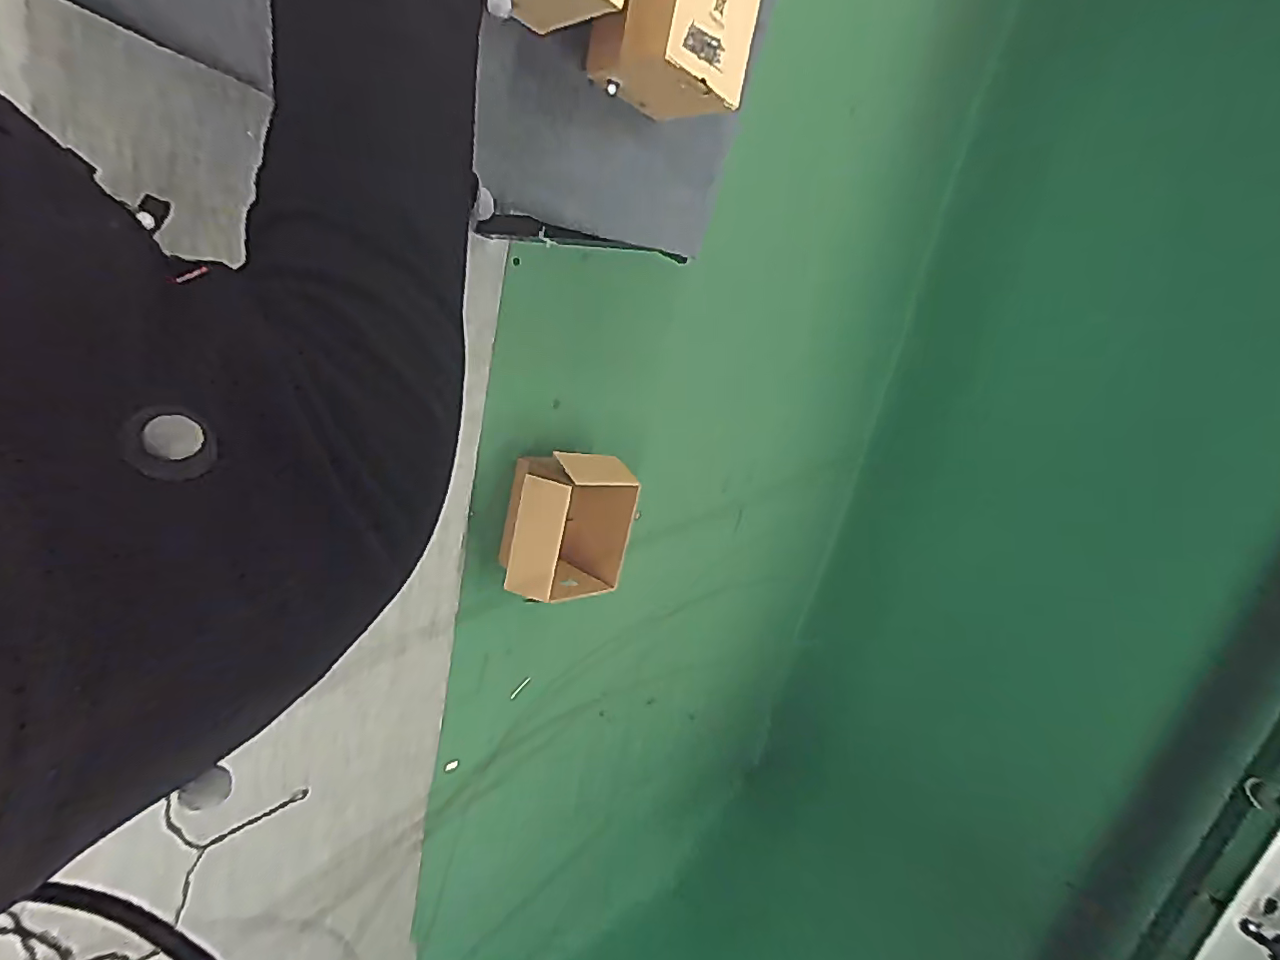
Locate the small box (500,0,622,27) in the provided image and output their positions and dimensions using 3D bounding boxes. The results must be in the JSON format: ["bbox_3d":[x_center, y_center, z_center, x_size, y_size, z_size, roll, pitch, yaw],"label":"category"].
[{"bbox_3d":[-0.116,-0.651,0.597,0.168,0.176,0.179,-5,112,-47],"label":"small box"}]

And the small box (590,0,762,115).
[{"bbox_3d":[0.048,-0.654,0.773,0.168,0.176,0.179,-5,112,-47],"label":"small box"}]
